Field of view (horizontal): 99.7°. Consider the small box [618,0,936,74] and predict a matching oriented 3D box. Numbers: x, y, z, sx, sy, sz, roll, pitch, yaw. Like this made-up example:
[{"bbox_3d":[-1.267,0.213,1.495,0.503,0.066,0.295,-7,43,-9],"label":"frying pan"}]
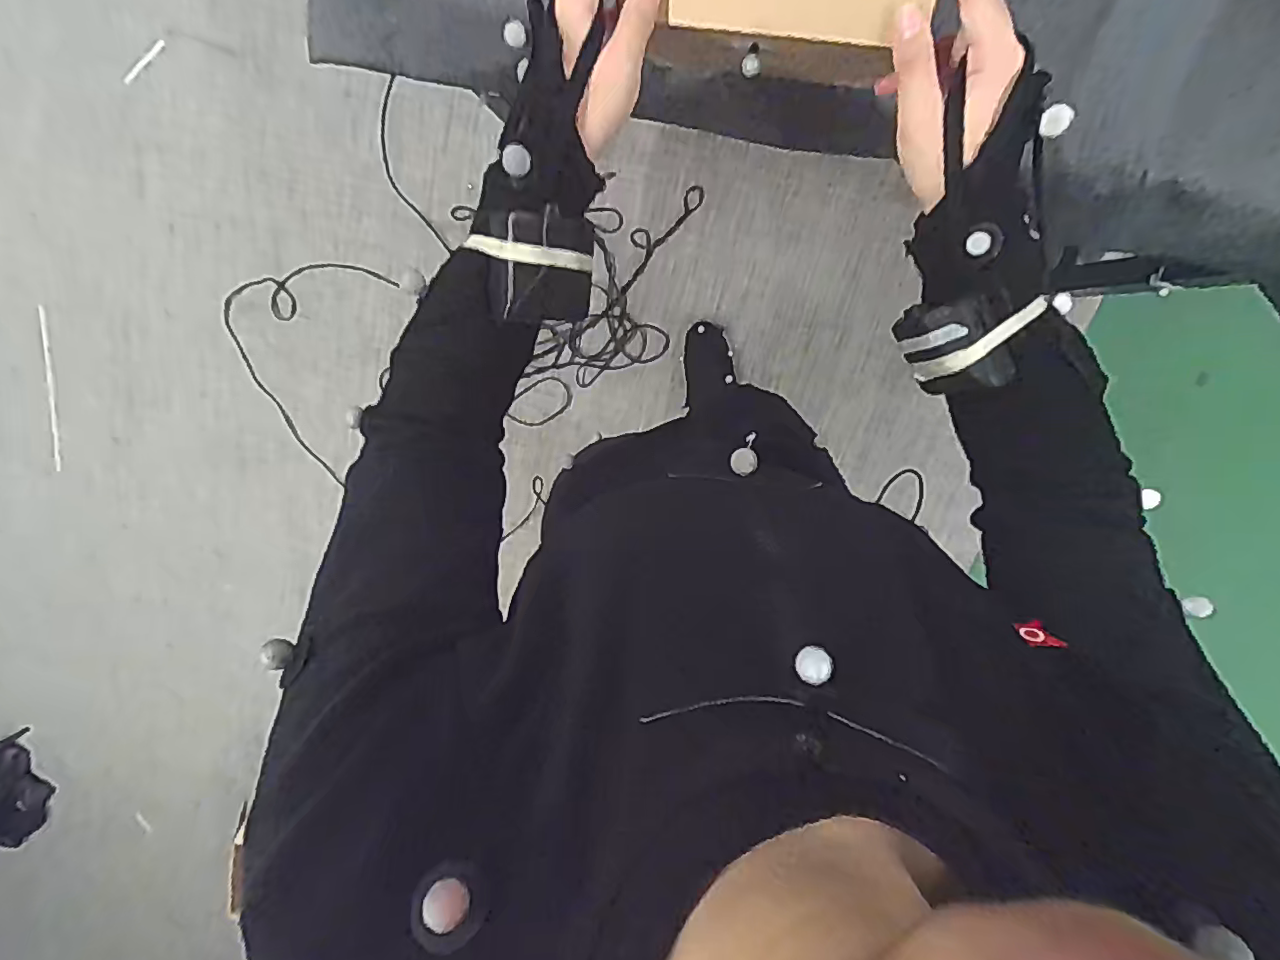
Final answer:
[{"bbox_3d":[0.091,-0.362,0.326,0.179,0.176,0.168,10,122,5],"label":"small box"}]
